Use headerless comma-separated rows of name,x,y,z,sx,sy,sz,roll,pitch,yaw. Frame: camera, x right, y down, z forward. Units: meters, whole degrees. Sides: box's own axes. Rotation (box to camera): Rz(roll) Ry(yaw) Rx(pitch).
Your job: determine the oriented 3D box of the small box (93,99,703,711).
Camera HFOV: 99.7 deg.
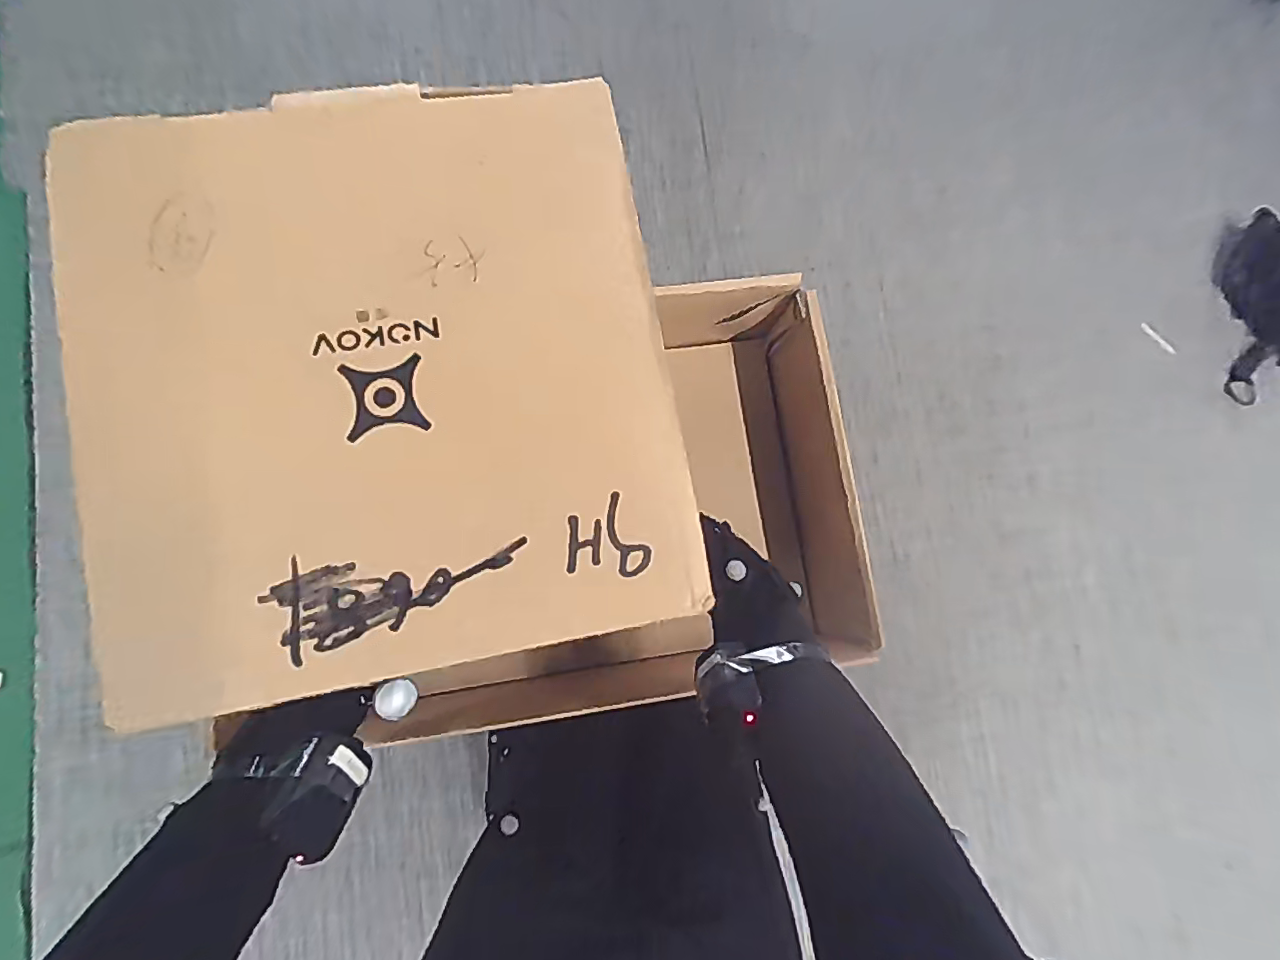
small box,-0.081,-0.021,0.244,0.168,0.176,0.179,-10,82,-5
